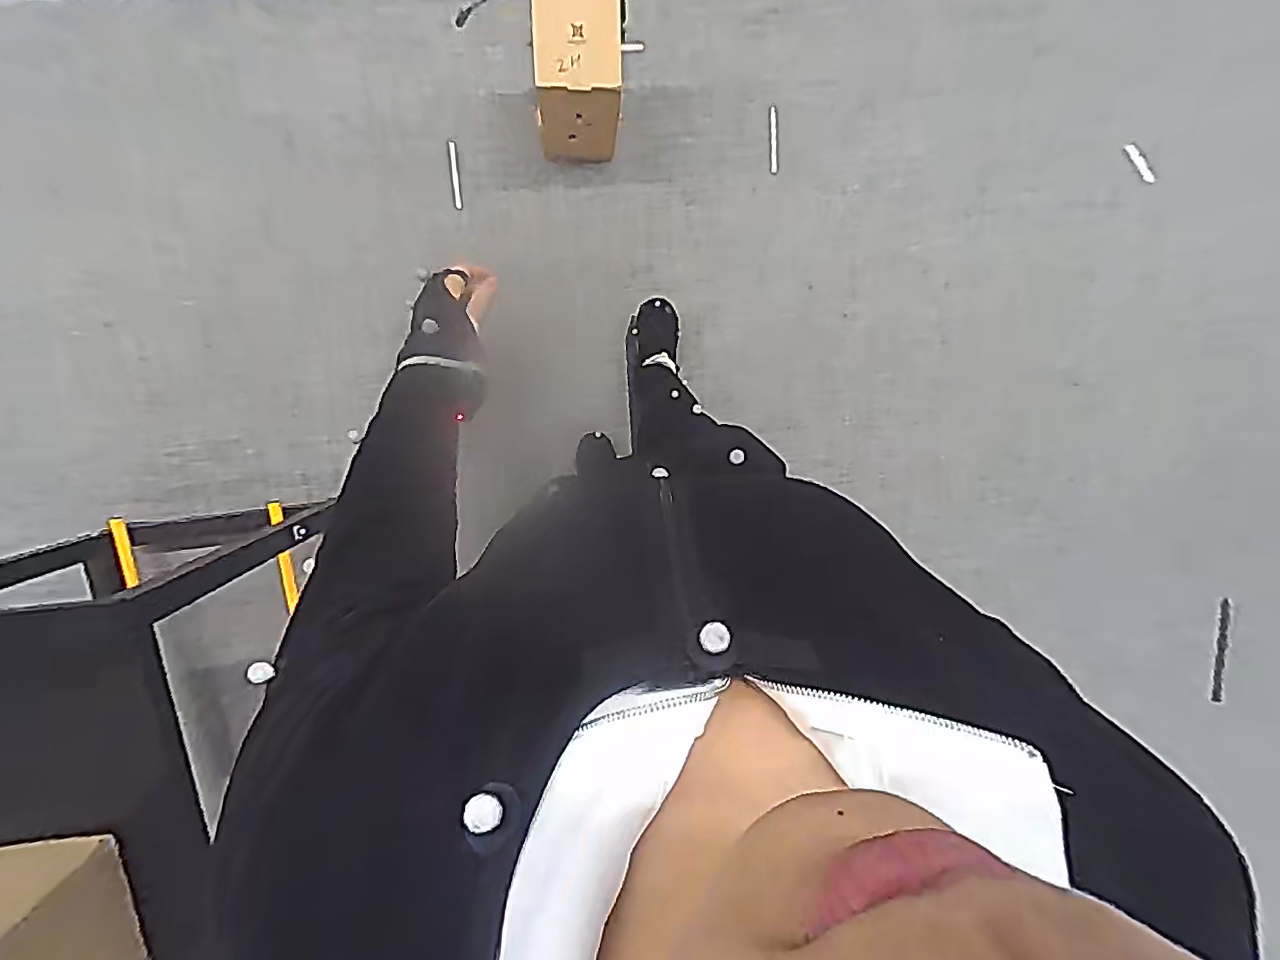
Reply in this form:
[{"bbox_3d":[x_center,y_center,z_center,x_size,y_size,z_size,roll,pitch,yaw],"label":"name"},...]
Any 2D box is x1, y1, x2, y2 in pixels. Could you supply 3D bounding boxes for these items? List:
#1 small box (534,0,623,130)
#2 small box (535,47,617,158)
[{"bbox_3d":[-0.120,-0.837,1.080,0.168,0.176,0.179,-2,101,-4],"label":"small box"},{"bbox_3d":[-0.141,-0.861,1.242,0.179,0.176,0.168,-2,101,-5],"label":"small box"}]
